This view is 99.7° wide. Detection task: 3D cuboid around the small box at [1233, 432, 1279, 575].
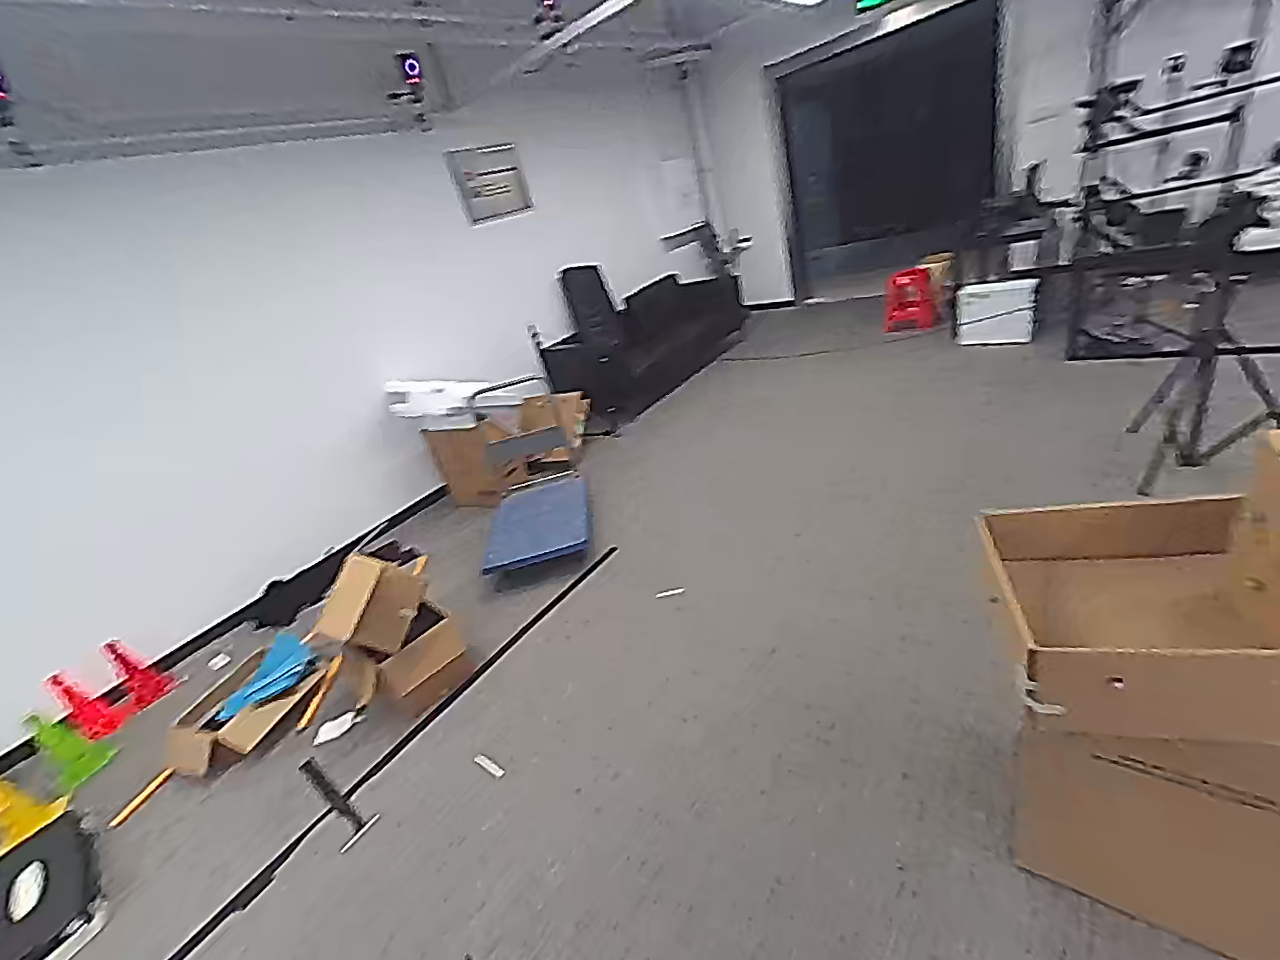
[{"bbox_3d":[1.050,0.038,0.809,0.179,0.176,0.168,0,31,33],"label":"small box"}]
